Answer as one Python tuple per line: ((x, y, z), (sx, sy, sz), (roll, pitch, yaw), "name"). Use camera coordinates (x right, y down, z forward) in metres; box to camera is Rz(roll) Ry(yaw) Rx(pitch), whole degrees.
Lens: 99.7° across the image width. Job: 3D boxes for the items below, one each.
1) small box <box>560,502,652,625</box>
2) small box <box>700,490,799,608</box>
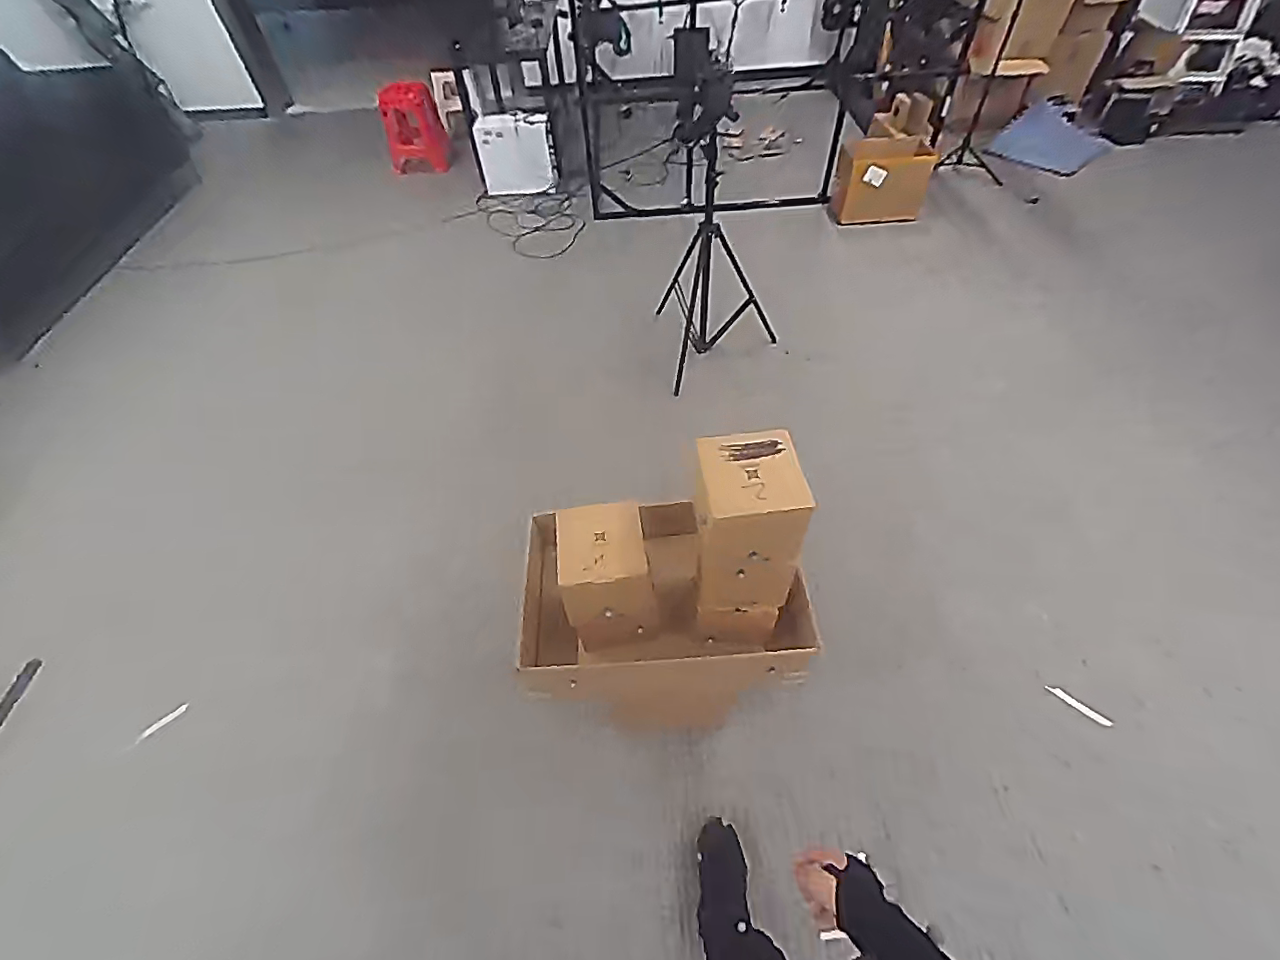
((-0.067, 0.168, 1.084), (0.168, 0.176, 0.179), (-7, 51, -3), "small box")
((0.210, 0.140, 1.085), (0.168, 0.176, 0.179), (-2, 50, 3), "small box")
